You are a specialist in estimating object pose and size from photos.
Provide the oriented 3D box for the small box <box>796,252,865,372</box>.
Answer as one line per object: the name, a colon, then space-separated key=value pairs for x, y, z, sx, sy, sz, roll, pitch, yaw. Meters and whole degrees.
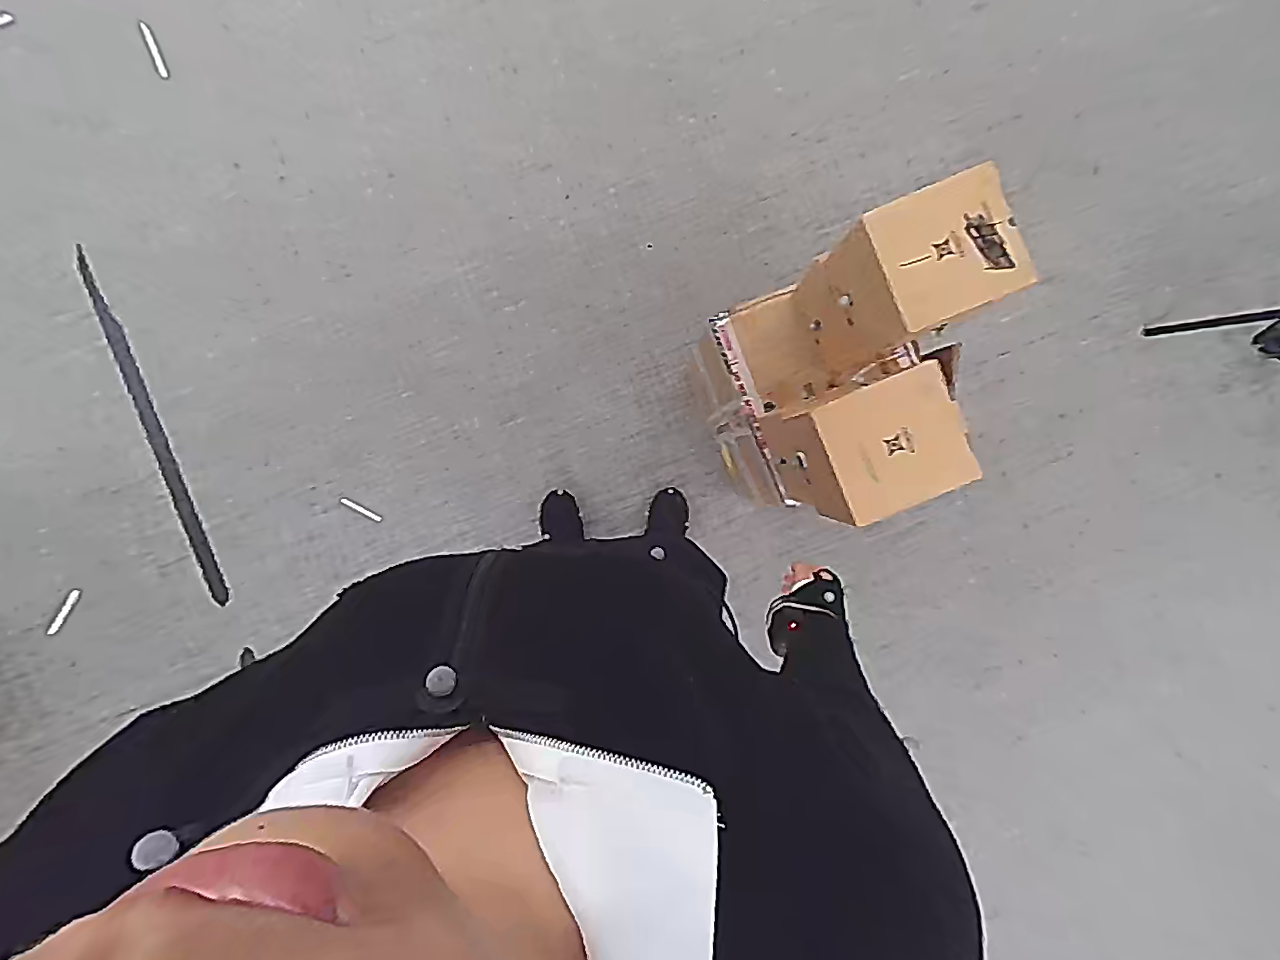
small box: x=0.394 y=-0.304 z=0.920 sx=0.179 sy=0.176 sz=0.168 roll=-25 pitch=89 yaw=3

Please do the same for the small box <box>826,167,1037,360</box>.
small box: x=0.390 y=-0.287 z=0.756 sx=0.179 sy=0.176 sz=0.168 roll=-22 pitch=90 yaw=3

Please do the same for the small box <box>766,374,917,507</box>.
small box: x=0.330 y=-0.063 z=0.929 sx=0.179 sy=0.176 sz=0.168 roll=-22 pitch=92 yaw=2
